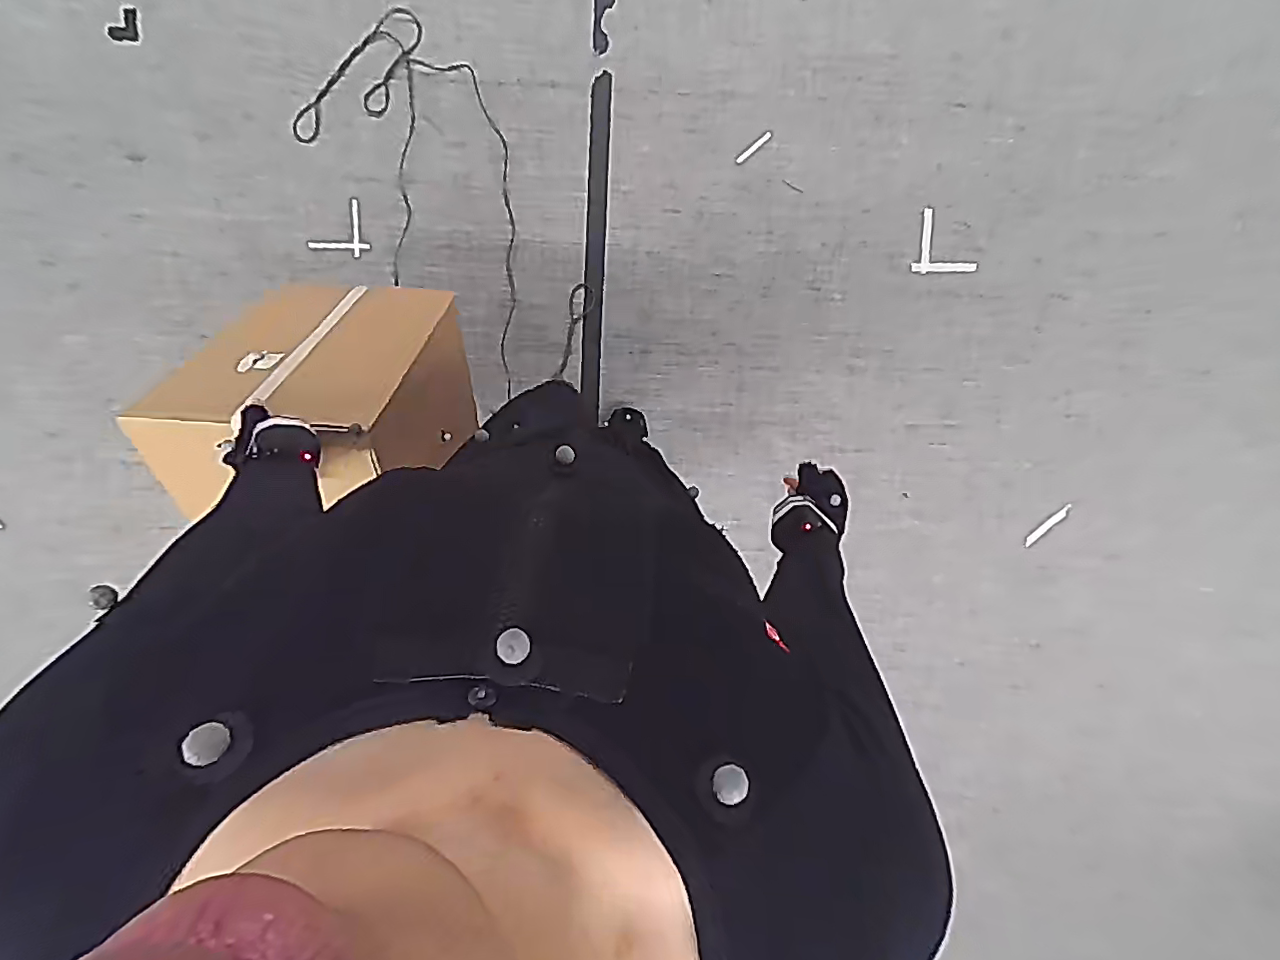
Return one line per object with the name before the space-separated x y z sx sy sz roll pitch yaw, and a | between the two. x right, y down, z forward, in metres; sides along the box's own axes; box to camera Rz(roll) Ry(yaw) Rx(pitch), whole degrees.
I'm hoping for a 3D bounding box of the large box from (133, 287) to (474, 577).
large box | -0.498 -0.090 0.928 0.320 0.408 0.320 3 133 -1
